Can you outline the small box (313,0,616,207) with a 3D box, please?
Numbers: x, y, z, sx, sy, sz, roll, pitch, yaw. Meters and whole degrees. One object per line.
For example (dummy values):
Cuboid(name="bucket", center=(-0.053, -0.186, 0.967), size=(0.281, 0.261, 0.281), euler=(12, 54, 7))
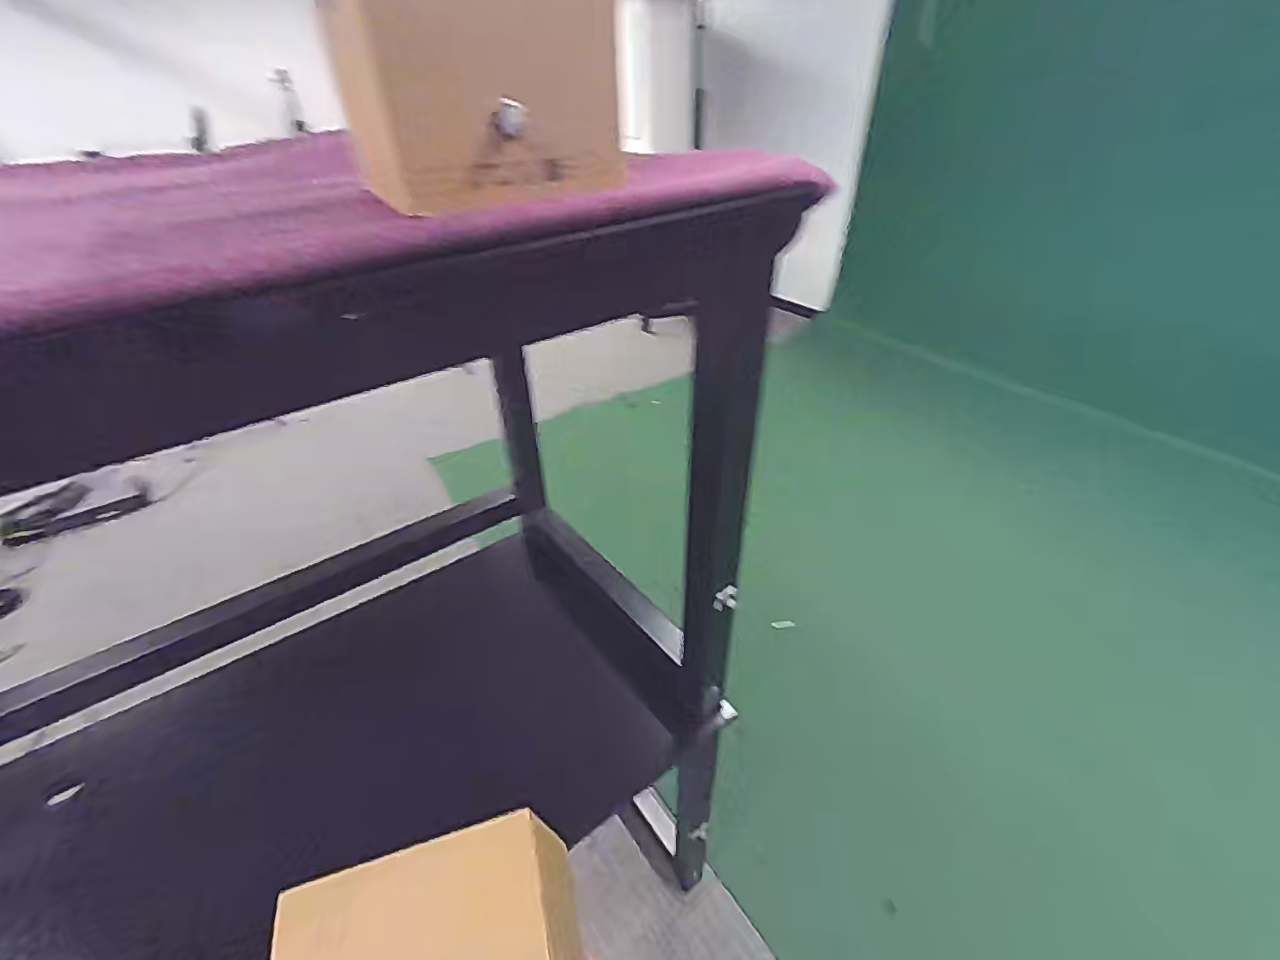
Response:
Cuboid(name="small box", center=(-0.130, -0.307, 0.394), size=(0.168, 0.176, 0.179), euler=(-22, 42, -24))
